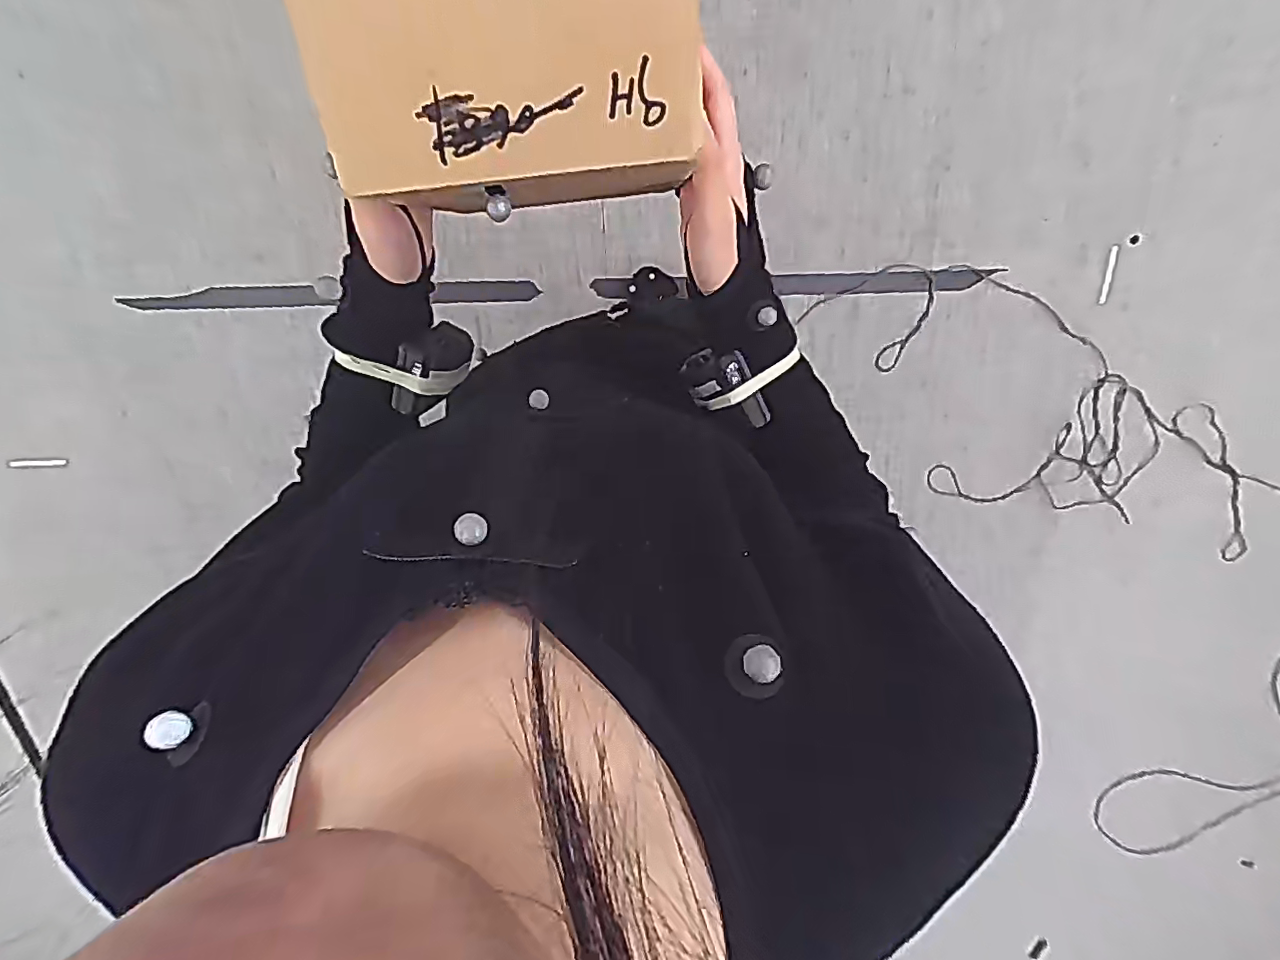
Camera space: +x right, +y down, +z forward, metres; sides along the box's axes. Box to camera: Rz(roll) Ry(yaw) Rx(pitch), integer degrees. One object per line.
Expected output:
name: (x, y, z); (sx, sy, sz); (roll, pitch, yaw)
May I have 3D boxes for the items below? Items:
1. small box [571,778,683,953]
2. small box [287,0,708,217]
small box: (-0.020, 0.627, 0.889); (0.168, 0.176, 0.179); (0, 109, -1)
small box: (-0.059, -0.243, 0.278); (0.168, 0.176, 0.179); (-5, 114, 3)
